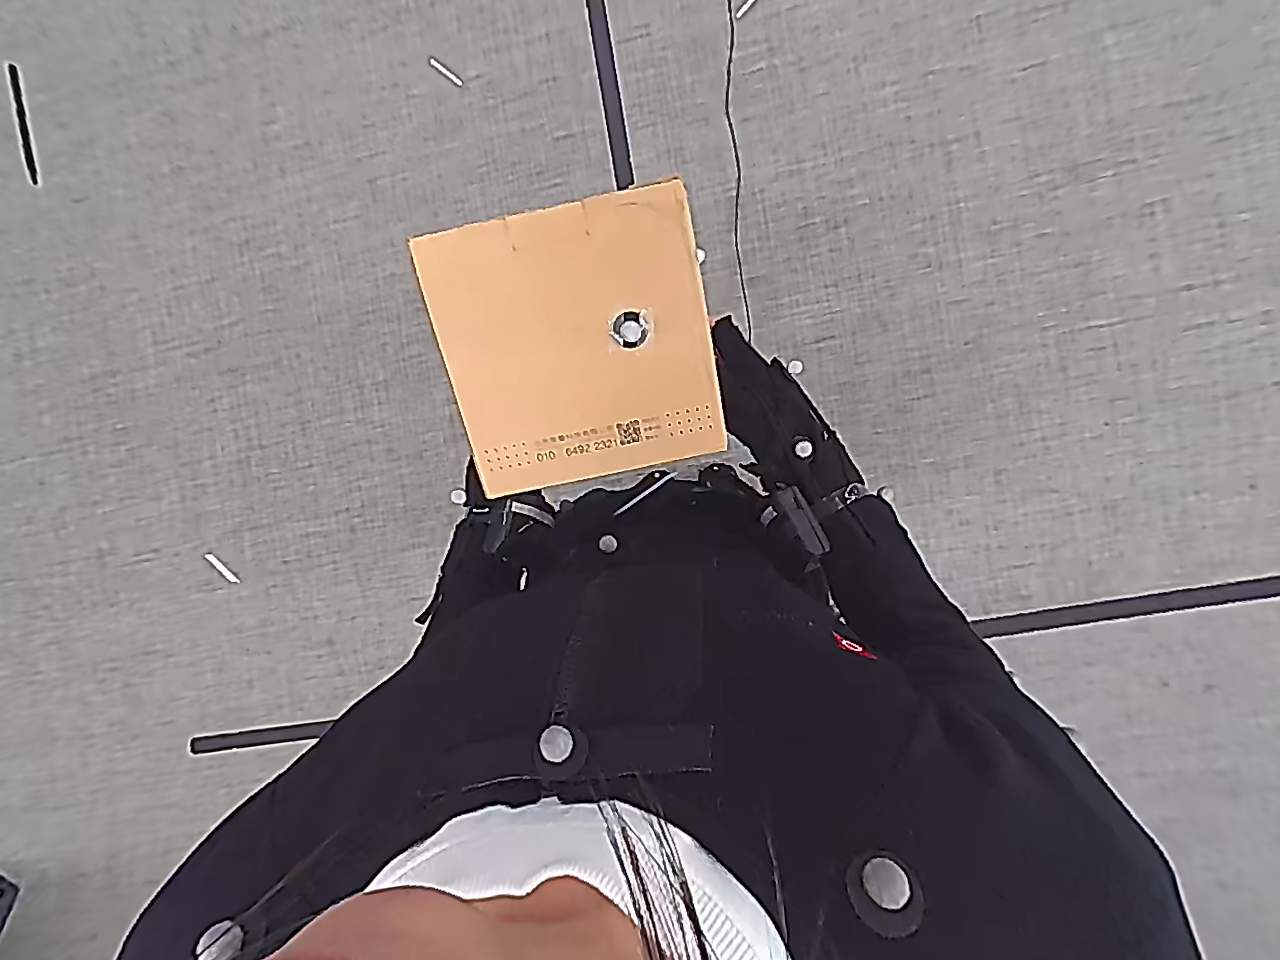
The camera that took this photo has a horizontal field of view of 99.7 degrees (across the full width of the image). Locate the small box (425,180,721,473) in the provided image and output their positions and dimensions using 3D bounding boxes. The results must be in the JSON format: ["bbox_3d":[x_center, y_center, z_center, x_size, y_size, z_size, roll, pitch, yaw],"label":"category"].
[{"bbox_3d":[-0.036,-0.112,0.428,0.168,0.179,0.176,-10,108,4],"label":"small box"}]
